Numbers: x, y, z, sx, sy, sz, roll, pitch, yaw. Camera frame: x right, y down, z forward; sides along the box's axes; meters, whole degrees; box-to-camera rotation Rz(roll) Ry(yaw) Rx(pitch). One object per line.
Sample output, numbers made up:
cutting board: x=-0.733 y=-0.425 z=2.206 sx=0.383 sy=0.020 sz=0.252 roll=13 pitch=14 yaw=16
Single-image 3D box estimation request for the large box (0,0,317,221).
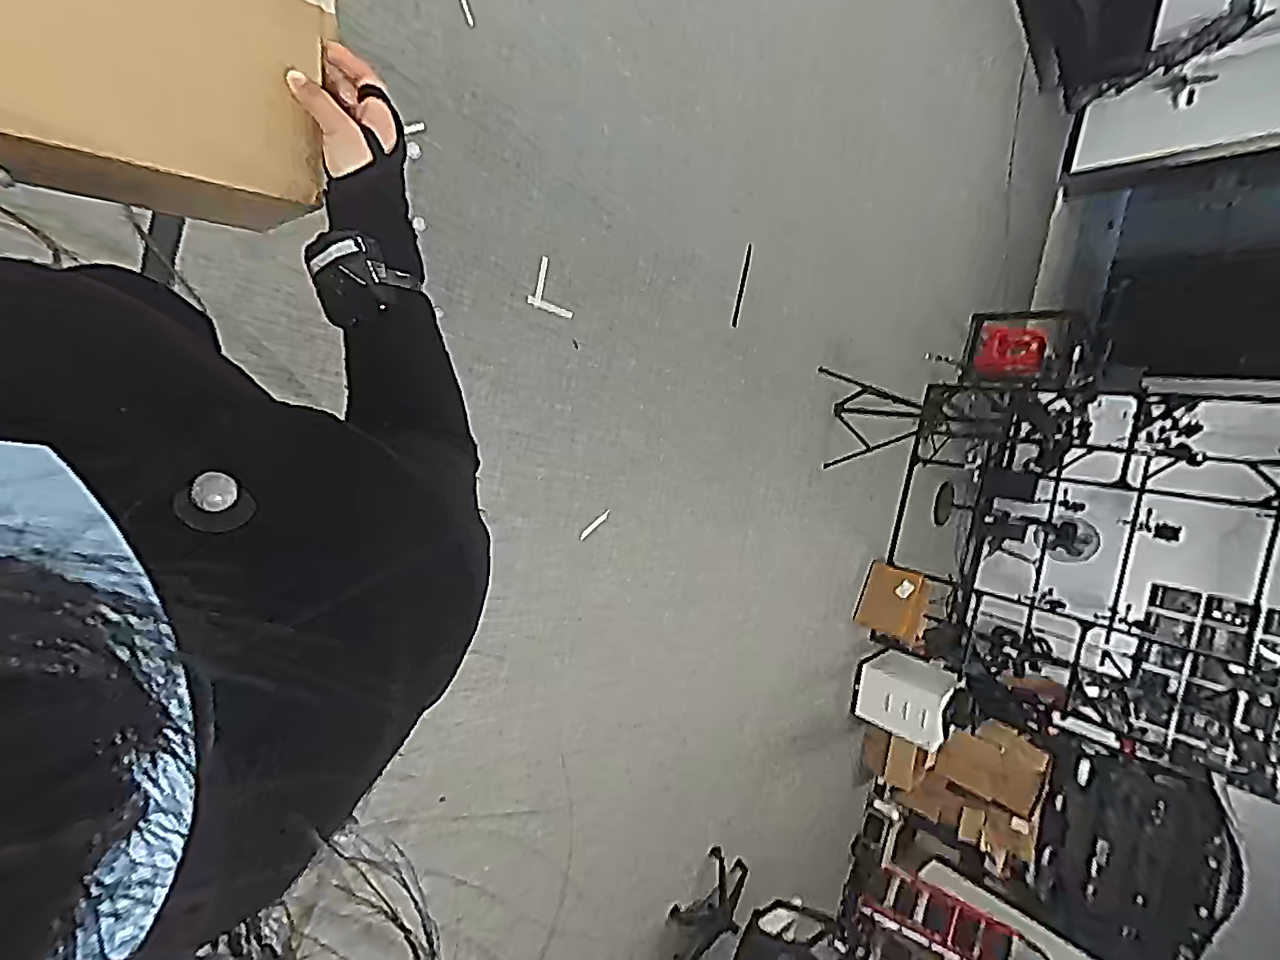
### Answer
large box: x=-0.506 y=-0.414 z=0.410 sx=0.408 sy=0.320 sz=0.320 roll=-4 pitch=107 yaw=-41
